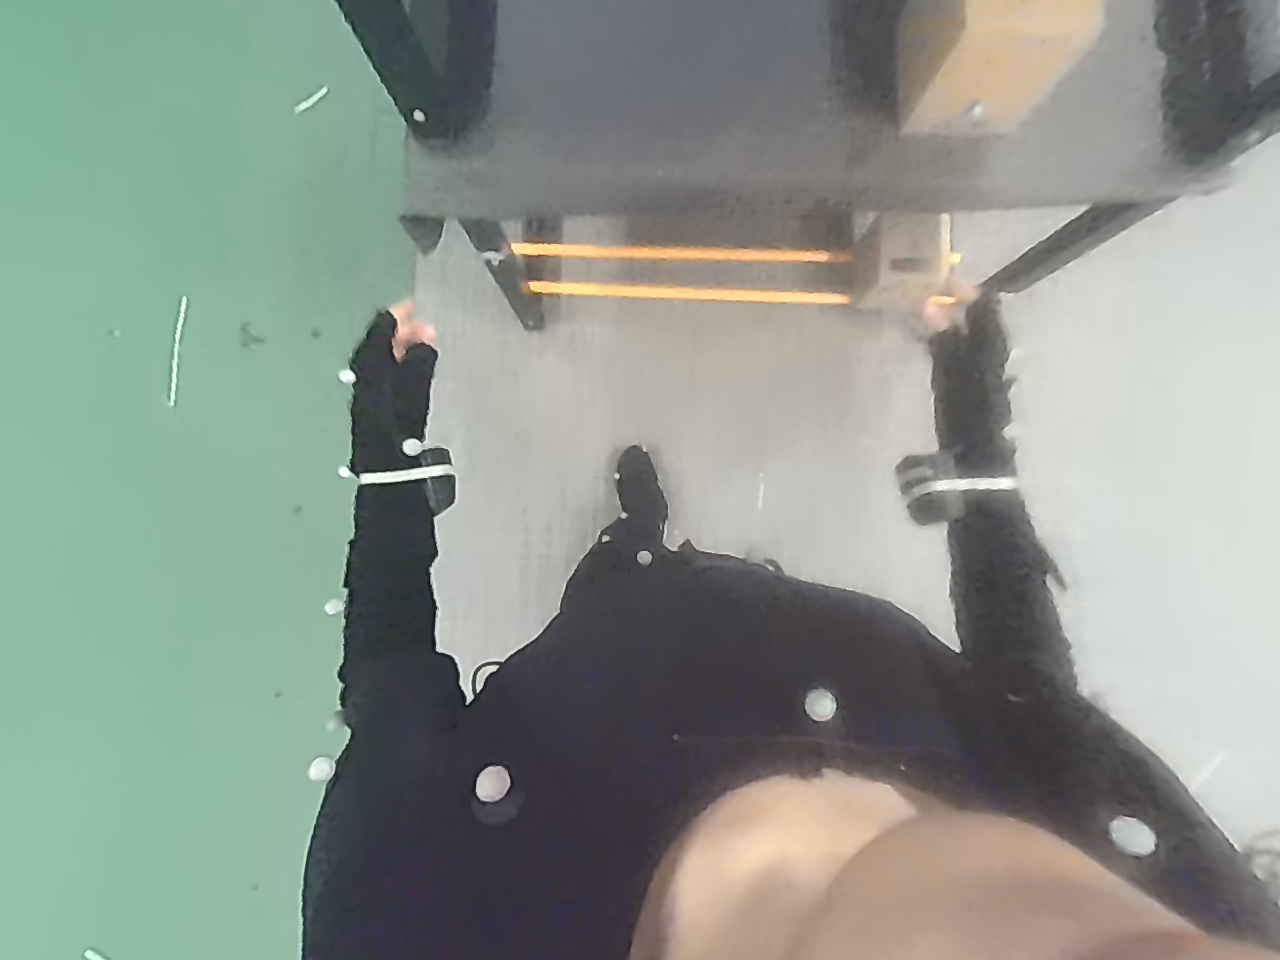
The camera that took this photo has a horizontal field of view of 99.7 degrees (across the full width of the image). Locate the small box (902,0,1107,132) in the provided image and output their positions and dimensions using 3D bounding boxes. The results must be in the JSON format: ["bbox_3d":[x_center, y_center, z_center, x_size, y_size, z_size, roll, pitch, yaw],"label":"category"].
[{"bbox_3d":[0.470,-0.611,0.726,0.168,0.176,0.179,1,84,1],"label":"small box"}]
